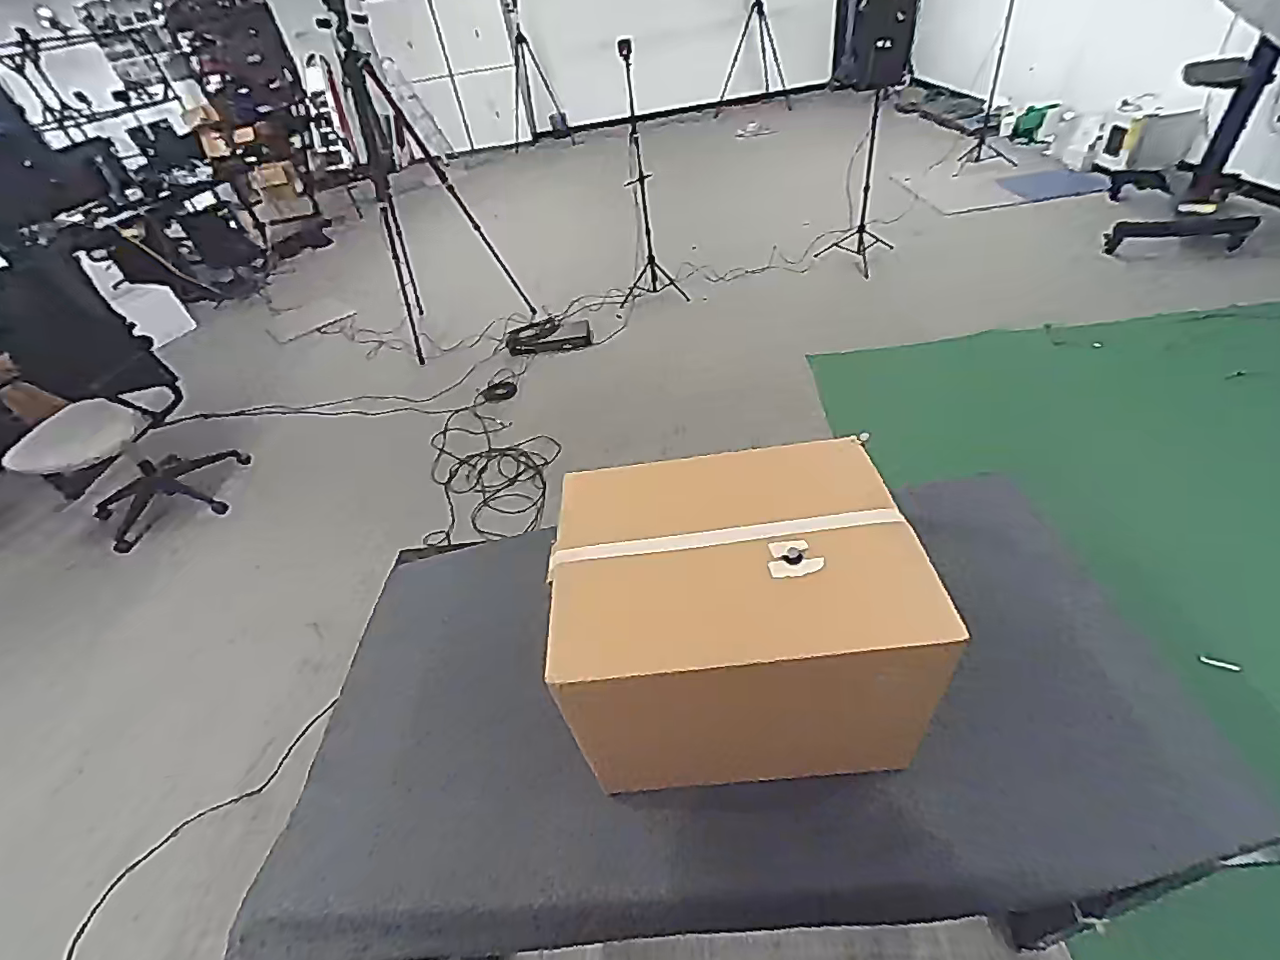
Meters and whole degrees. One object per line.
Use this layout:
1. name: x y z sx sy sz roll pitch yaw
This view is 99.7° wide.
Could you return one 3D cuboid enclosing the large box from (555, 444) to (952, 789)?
1. large box: 0.119 0.187 0.740 0.408 0.320 0.320 -7 42 3
